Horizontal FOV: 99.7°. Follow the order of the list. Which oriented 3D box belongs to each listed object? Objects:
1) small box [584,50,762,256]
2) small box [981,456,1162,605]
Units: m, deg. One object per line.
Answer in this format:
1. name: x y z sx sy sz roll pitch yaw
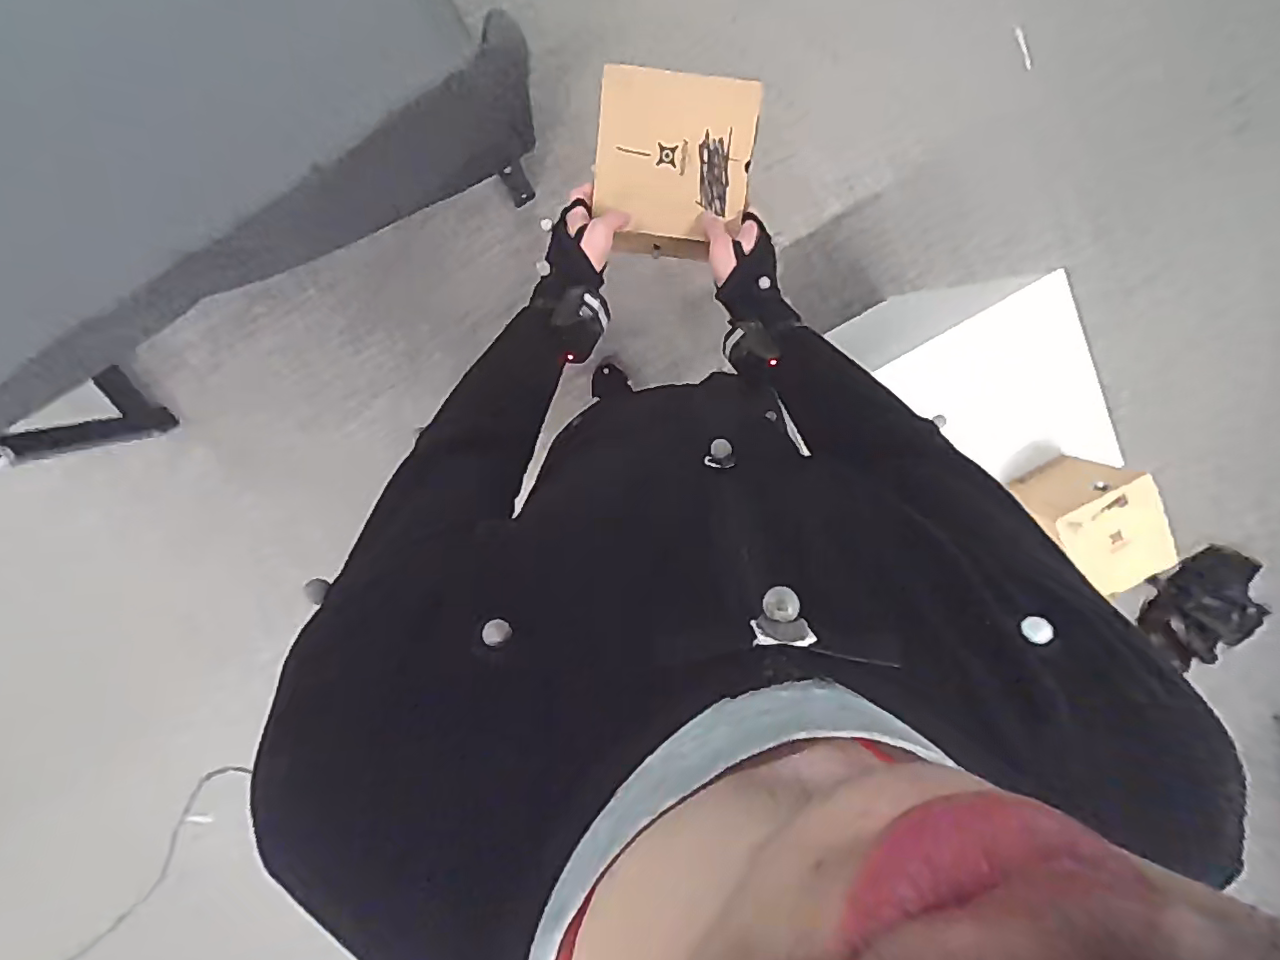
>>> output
1. small box: 0.031 -0.376 0.656 0.179 0.176 0.168 6 105 -2
2. small box: 0.750 0.080 0.954 0.168 0.176 0.179 -28 105 2
